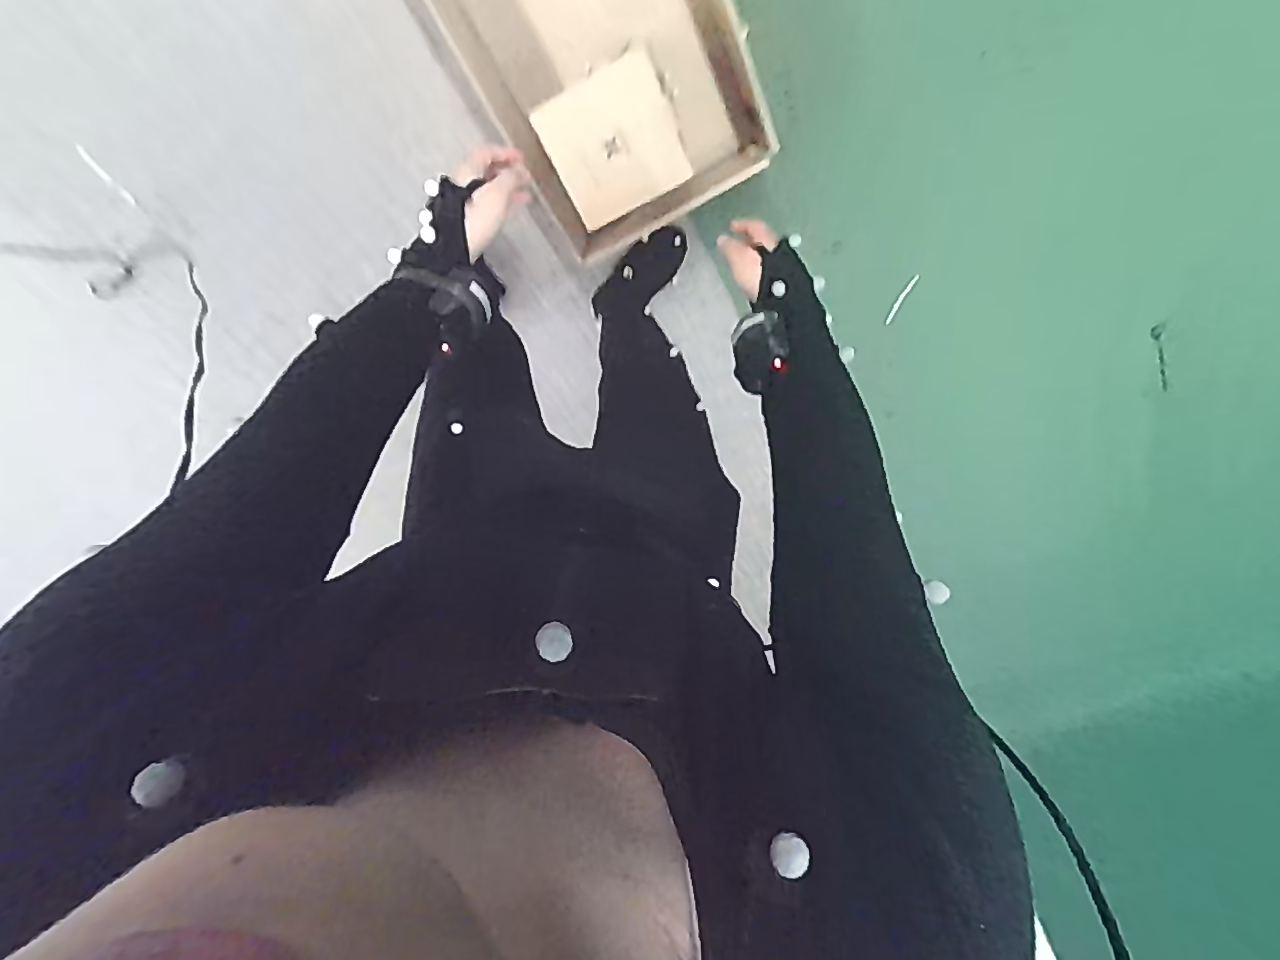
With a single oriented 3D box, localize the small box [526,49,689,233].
[{"bbox_3d":[-0.040,-0.504,0.801,0.179,0.176,0.168,-20,125,18],"label":"small box"}]
